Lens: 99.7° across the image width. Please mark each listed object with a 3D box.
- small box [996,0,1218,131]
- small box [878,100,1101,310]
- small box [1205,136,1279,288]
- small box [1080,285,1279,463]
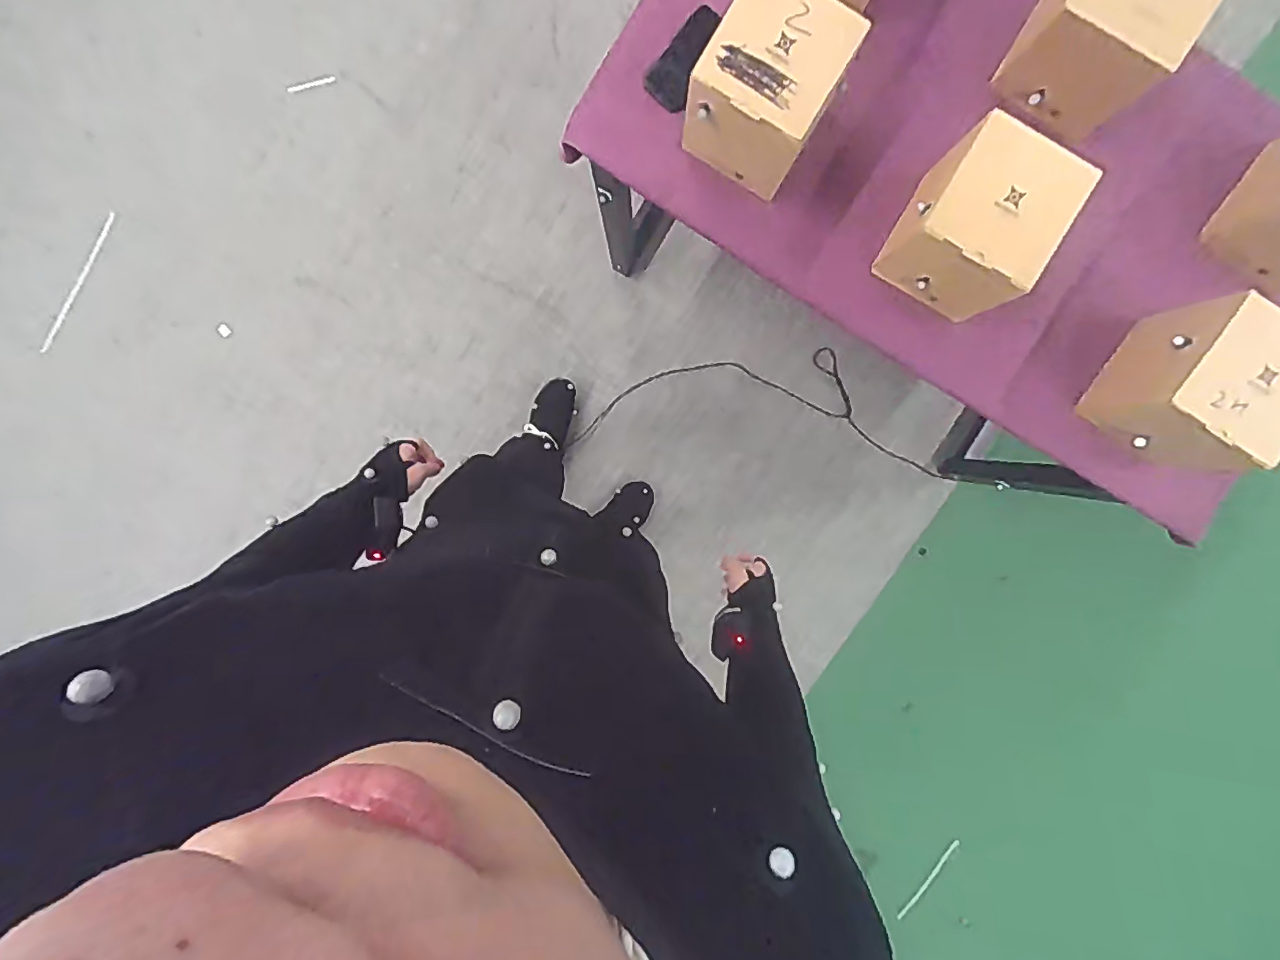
[{"bbox_3d":[0.644,-0.640,0.745,0.168,0.176,0.179,31,95,-1],"label":"small box"},{"bbox_3d":[0.475,-0.372,0.769,0.168,0.176,0.179,30,94,-2],"label":"small box"},{"bbox_3d":[0.981,-0.405,0.760,0.168,0.176,0.179,35,94,-1],"label":"small box"},{"bbox_3d":[0.803,-0.143,0.780,0.168,0.176,0.179,35,94,-1],"label":"small box"}]
